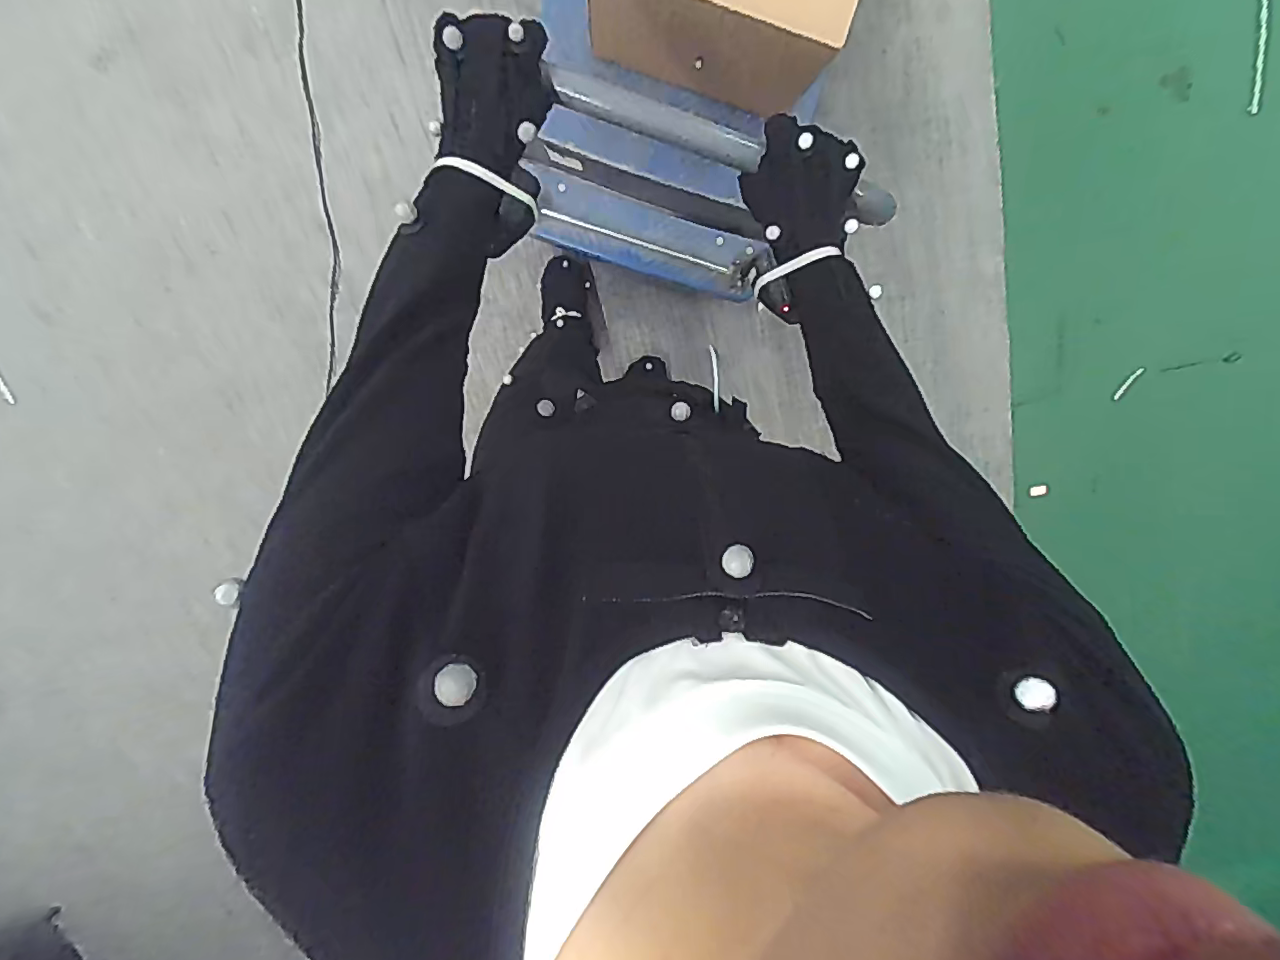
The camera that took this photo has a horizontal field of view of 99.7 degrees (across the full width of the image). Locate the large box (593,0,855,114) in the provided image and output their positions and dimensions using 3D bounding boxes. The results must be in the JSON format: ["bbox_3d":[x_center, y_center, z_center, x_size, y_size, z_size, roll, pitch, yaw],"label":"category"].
[{"bbox_3d":[0.151,-0.895,0.918,0.408,0.320,0.320,14,104,-7],"label":"large box"}]
